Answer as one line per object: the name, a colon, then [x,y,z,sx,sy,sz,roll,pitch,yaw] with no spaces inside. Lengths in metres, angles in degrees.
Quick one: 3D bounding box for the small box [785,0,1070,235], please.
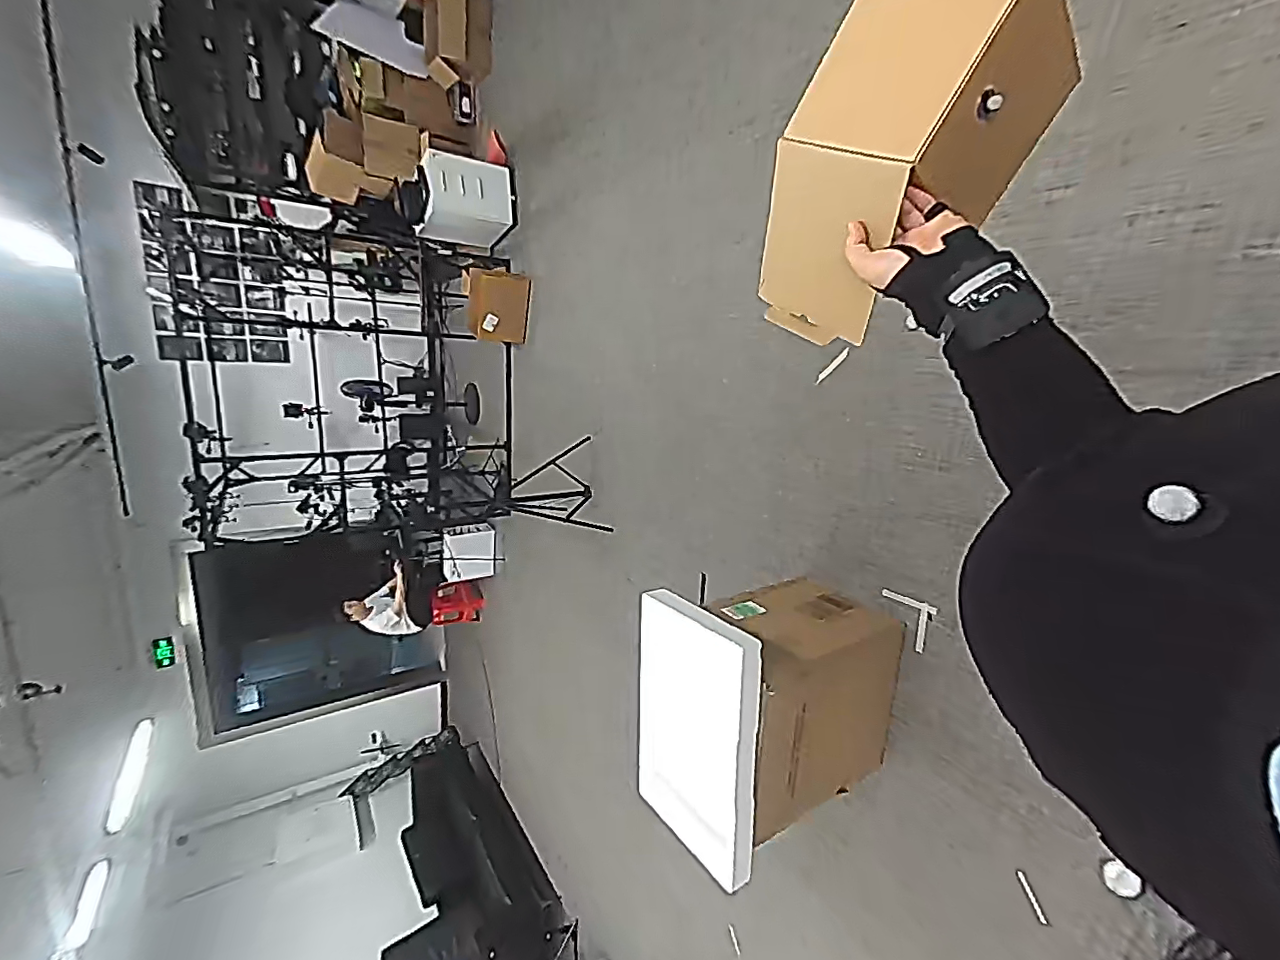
small box: [0.291,-0.381,0.548,0.168,0.176,0.179,46,114,40]
